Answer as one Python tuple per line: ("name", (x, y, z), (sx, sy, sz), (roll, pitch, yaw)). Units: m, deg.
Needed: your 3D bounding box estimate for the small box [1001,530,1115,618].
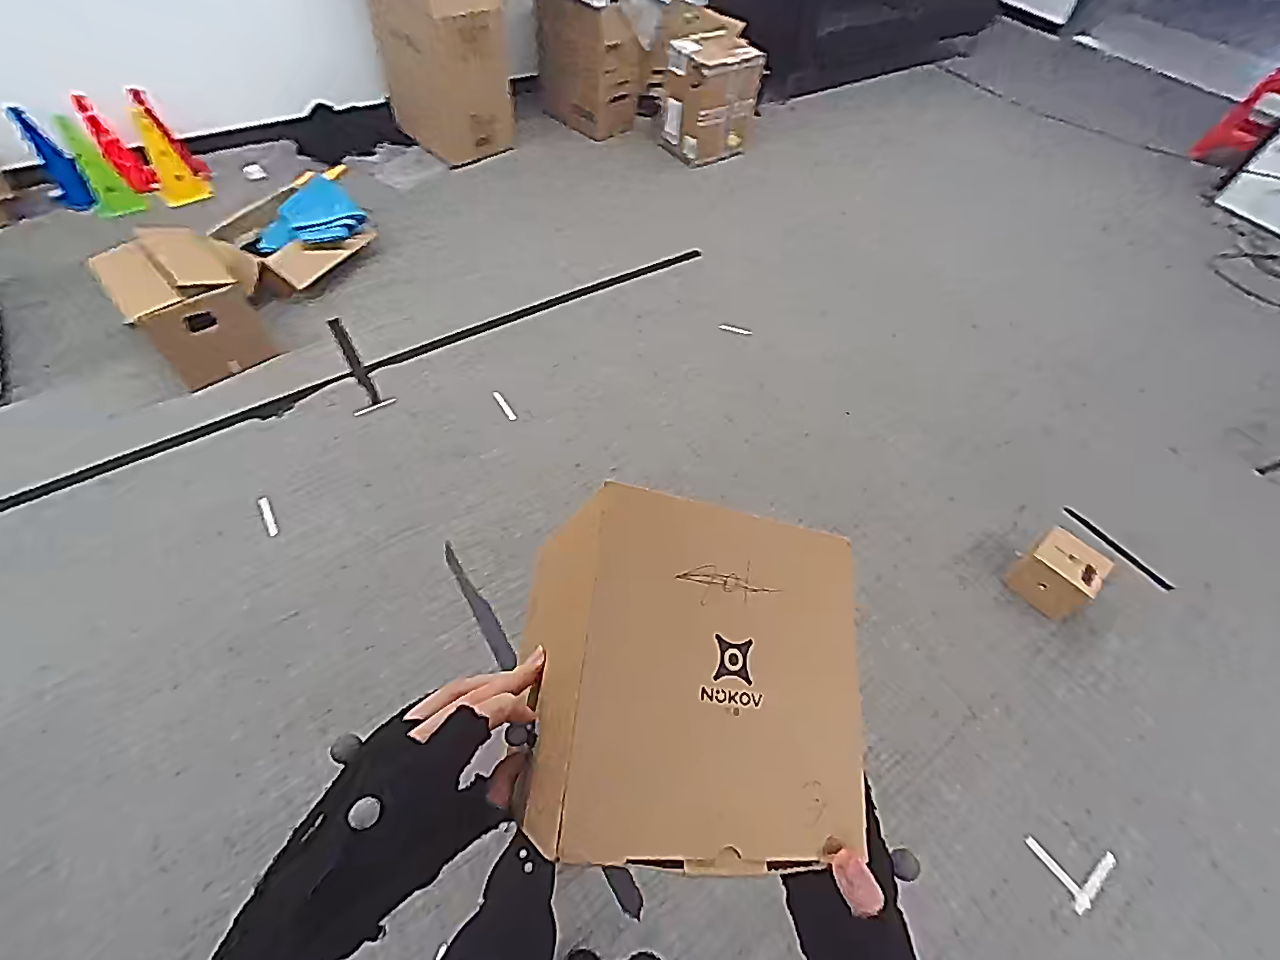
("small box", (1.239, 0.288, 1.613), (0.168, 0.176, 0.179), (-34, 63, -25))
